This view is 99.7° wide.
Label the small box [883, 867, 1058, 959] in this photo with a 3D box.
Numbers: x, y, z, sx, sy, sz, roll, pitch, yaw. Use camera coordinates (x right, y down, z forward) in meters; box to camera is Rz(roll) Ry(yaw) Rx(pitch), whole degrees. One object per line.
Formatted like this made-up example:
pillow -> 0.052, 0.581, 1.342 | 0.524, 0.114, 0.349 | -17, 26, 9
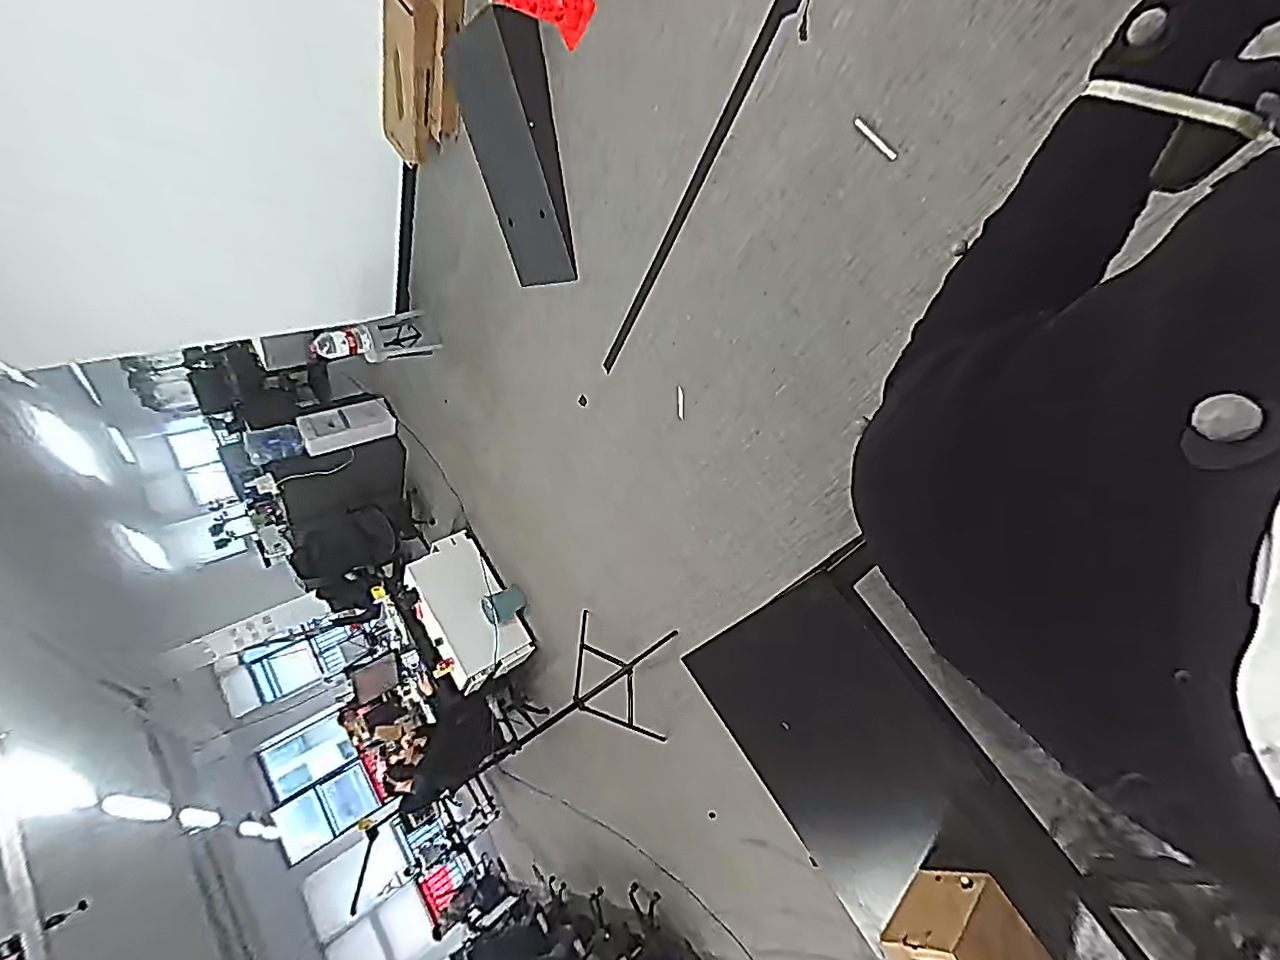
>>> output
small box -> 0.572, 0.814, 0.938 | 0.179, 0.176, 0.168 | 54, 143, 14
